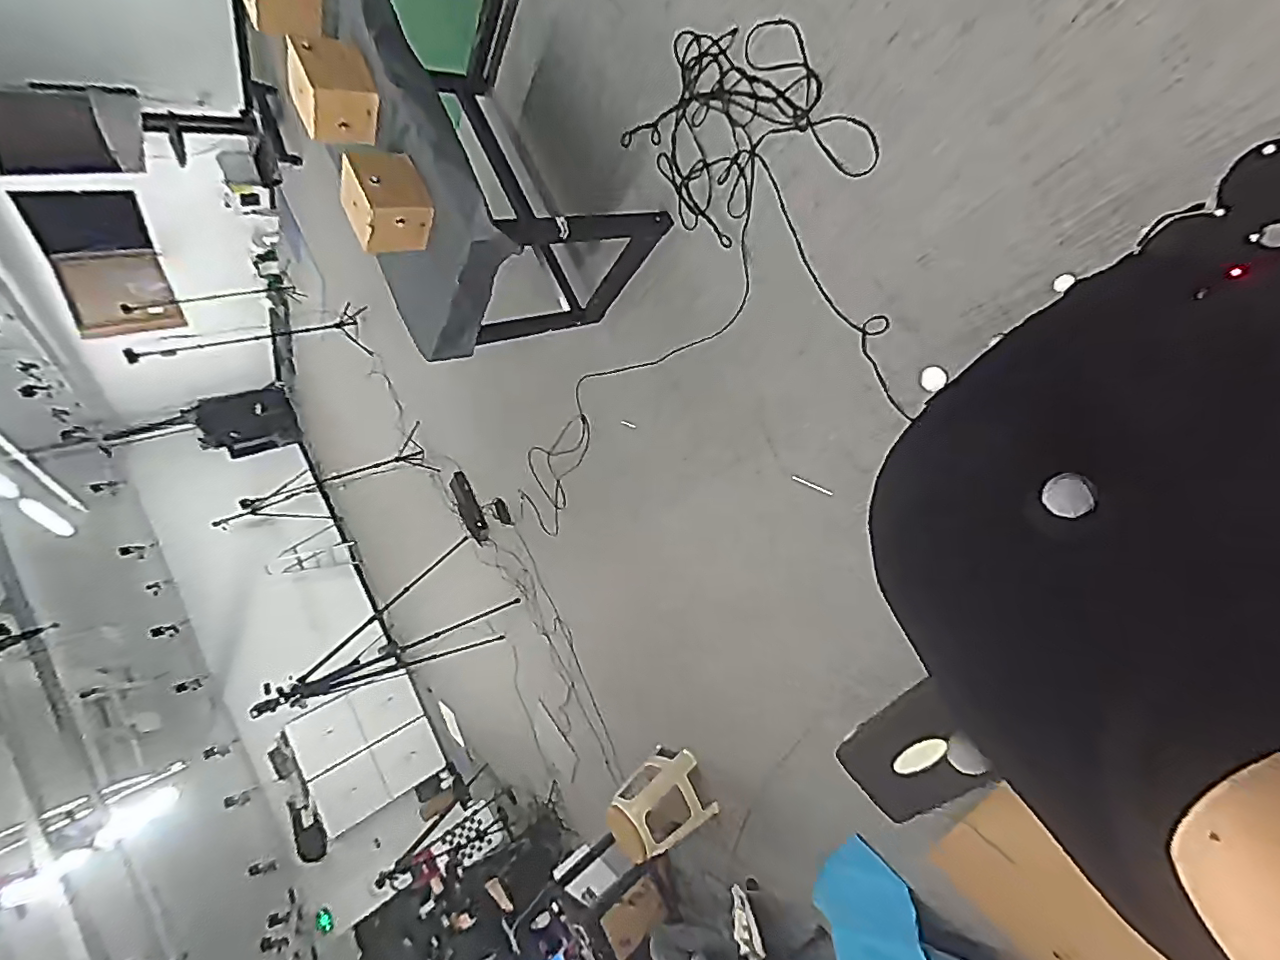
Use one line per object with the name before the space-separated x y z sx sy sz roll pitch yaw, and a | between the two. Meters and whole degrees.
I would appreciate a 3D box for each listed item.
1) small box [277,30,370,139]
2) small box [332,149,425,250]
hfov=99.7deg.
small box | -0.850 -1.059 1.461 0.168 0.176 0.179 -33 82 54
small box | -0.690 -0.740 1.432 0.168 0.176 0.179 -35 80 52
